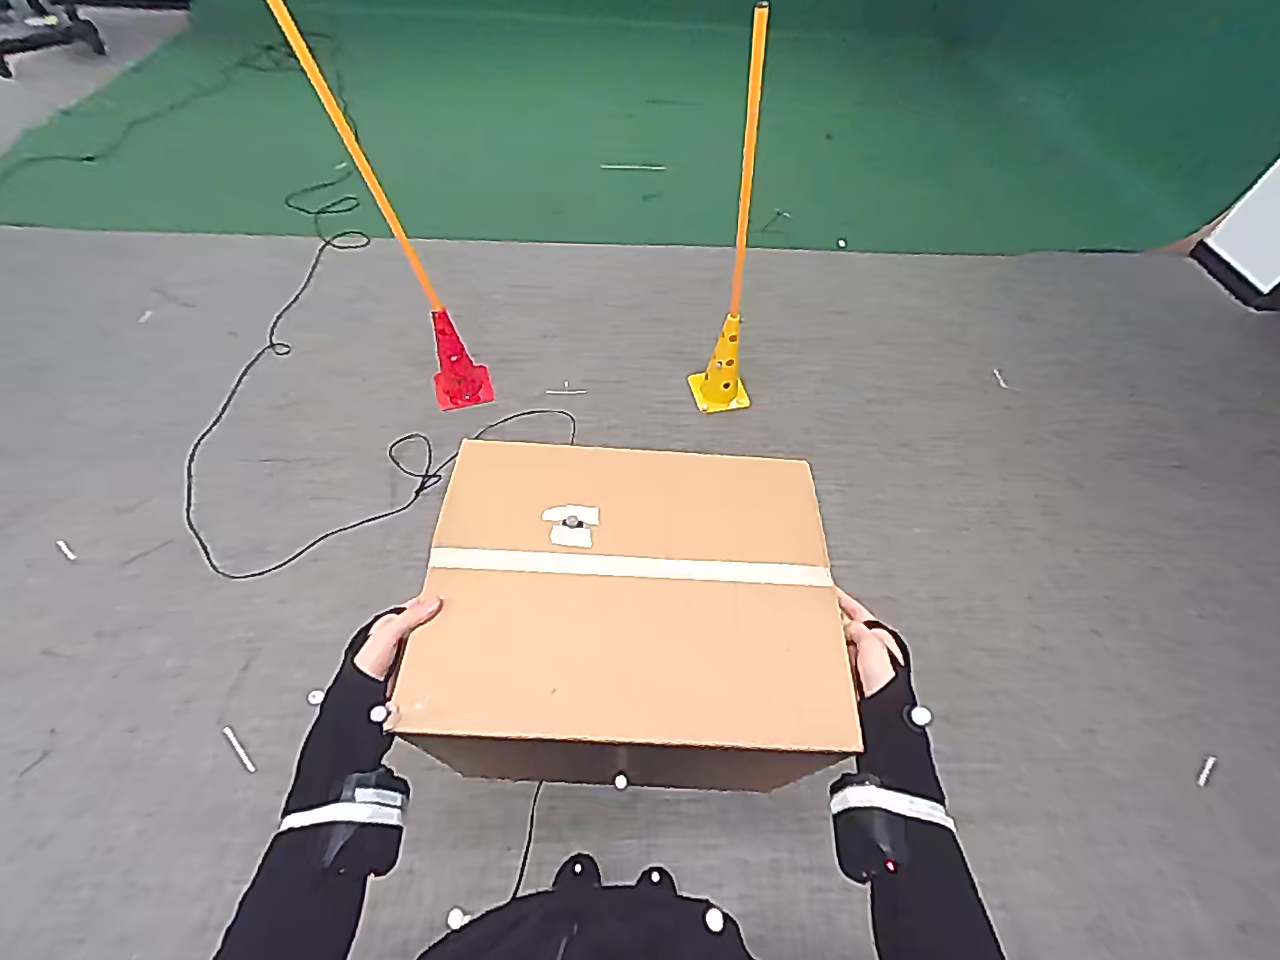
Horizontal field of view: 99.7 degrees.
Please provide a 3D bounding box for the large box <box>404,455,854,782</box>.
[{"bbox_3d":[-0.009,0.187,0.678,0.408,0.320,0.320,3,54,-1],"label":"large box"}]
